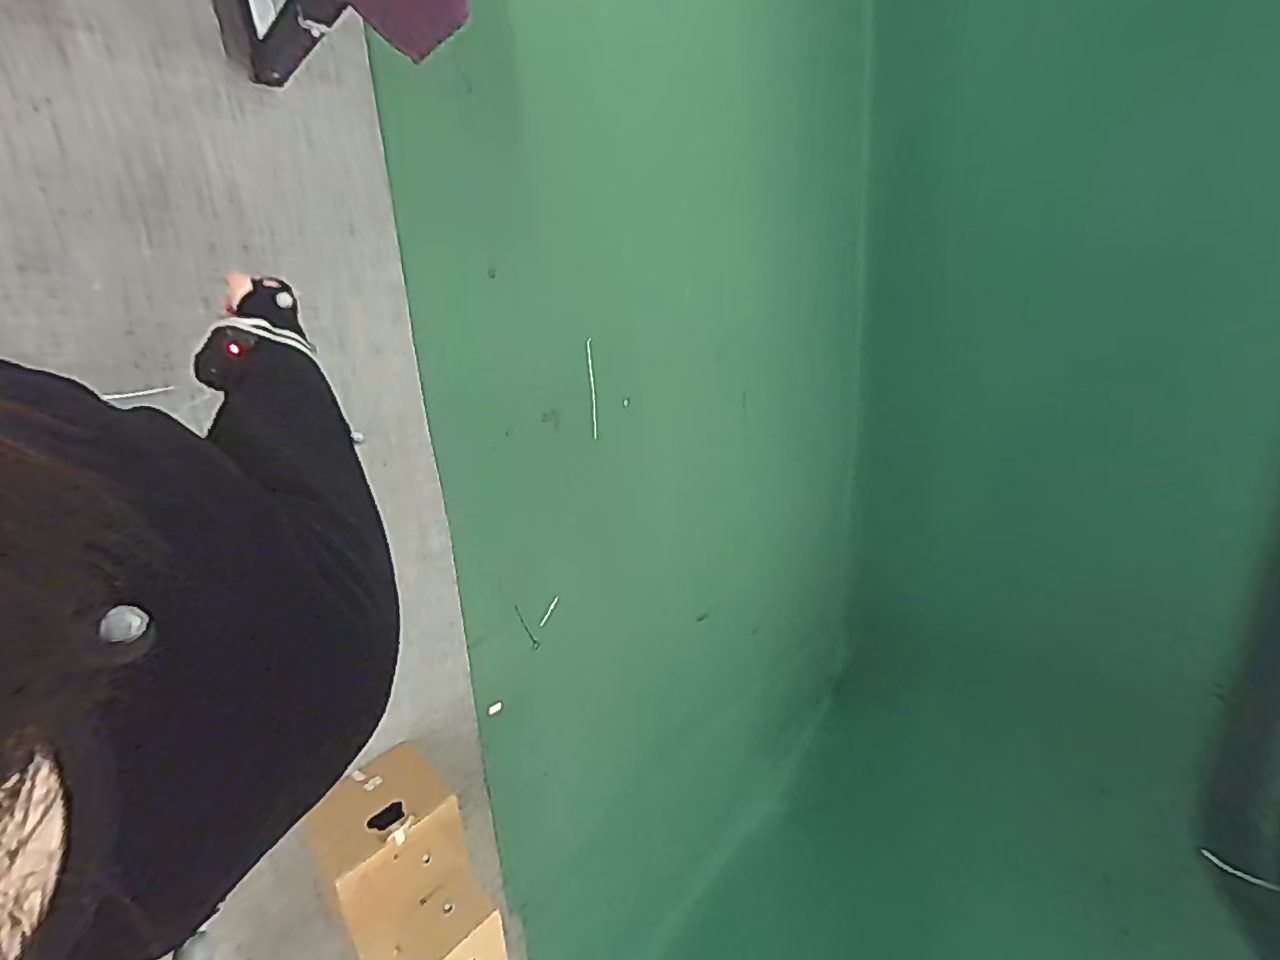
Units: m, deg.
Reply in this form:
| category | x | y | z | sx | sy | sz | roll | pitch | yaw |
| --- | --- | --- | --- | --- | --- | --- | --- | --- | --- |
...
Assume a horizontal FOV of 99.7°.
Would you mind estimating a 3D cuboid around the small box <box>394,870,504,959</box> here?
| category | x | y | z | sx | sy | sz | roll | pitch | yaw |
| --- | --- | --- | --- | --- | --- | --- | --- | --- | --- |
| small box | -0.429 | 1.028 | 1.214 | 0.168 | 0.176 | 0.179 | -19 | 113 | -44 |

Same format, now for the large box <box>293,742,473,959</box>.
| category | x | y | z | sx | sy | sz | roll | pitch | yaw |
| --- | --- | --- | --- | --- | --- | --- | --- | --- | --- |
| large box | -0.712 | 1.048 | 1.522 | 0.320 | 0.320 | 0.408 | -21 | 115 | -44 |

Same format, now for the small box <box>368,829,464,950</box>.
| category | x | y | z | sx | sy | sz | roll | pitch | yaw |
| --- | --- | --- | --- | --- | --- | --- | --- | --- | --- |
| small box | -0.545 | 1.003 | 1.329 | 0.168 | 0.176 | 0.179 | -19 | 113 | -45 |
